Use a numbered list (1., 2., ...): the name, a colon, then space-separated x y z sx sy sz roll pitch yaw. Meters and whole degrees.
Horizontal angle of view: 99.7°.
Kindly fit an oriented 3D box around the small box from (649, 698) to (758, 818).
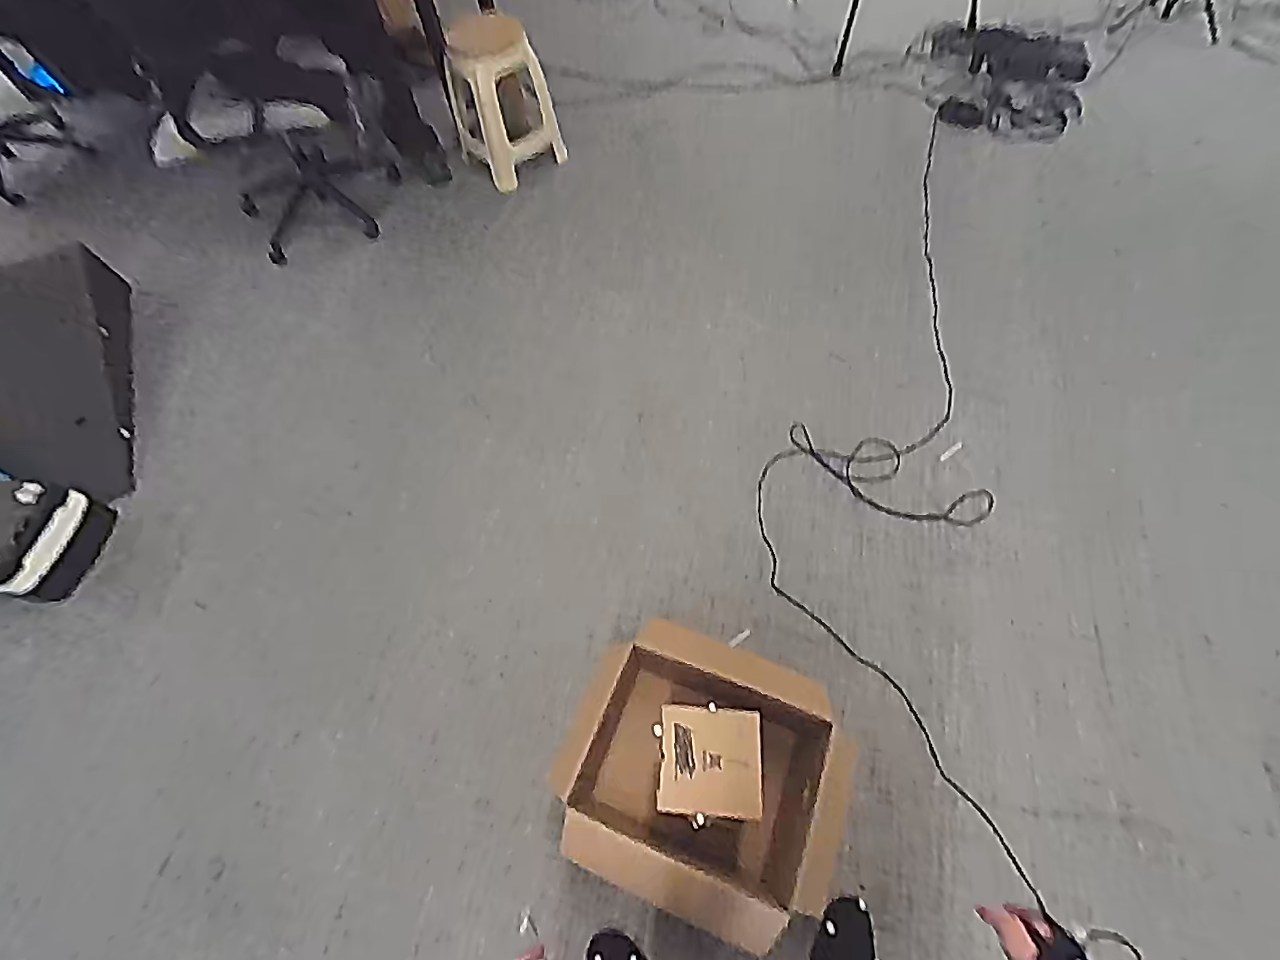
1. small box: 0.118 0.510 0.997 0.179 0.176 0.168 5 64 7
